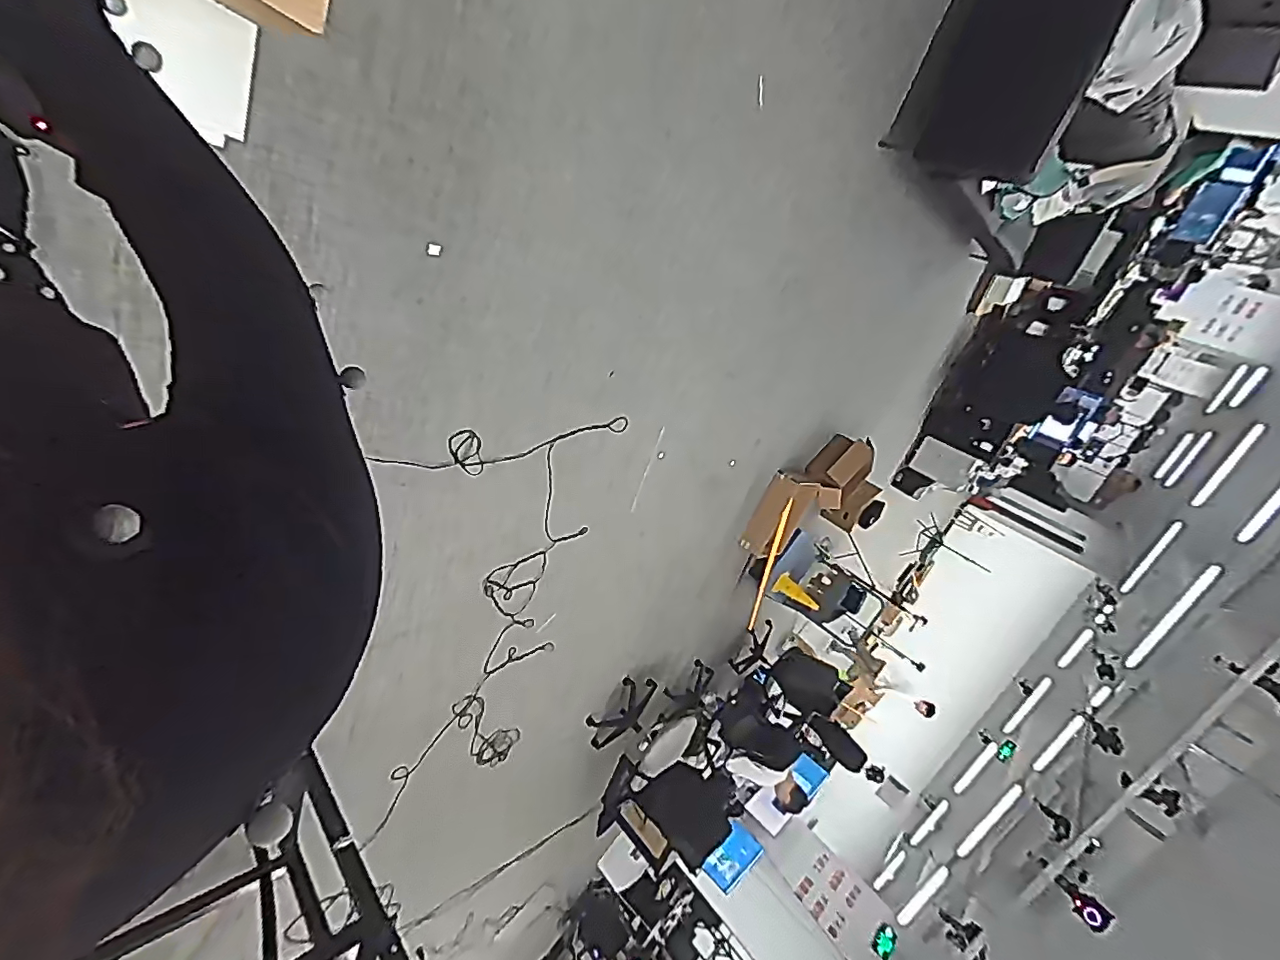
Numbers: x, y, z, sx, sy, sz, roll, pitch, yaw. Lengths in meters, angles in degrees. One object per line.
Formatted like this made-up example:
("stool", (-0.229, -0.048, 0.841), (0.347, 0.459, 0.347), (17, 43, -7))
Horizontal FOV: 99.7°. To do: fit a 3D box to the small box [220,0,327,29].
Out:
("small box", (-0.380, -0.535, 0.468), (0.179, 0.176, 0.168), (1, 119, -52))
